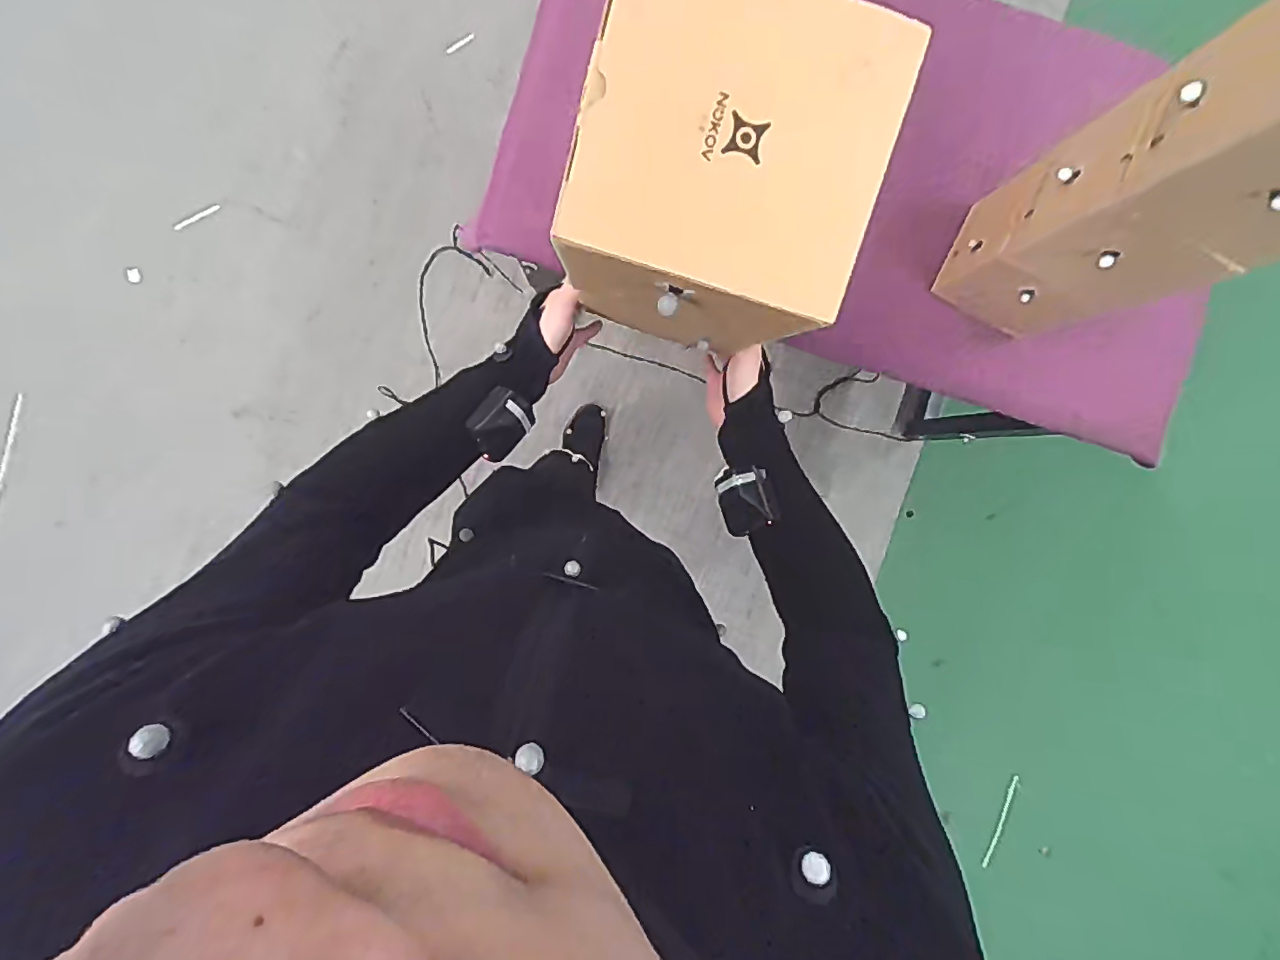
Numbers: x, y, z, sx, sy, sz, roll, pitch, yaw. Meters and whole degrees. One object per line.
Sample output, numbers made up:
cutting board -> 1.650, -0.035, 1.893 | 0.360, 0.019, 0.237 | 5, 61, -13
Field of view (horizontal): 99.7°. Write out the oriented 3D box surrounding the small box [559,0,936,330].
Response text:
small box -> 0.056, -0.210, 0.380 | 0.179, 0.176, 0.168 | 15, 100, -5

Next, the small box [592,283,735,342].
small box -> 0.048, -0.283, 0.699 | 0.179, 0.176, 0.168 | 17, 99, -5

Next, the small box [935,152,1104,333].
small box -> 0.601, -0.347, 0.831 | 0.179, 0.176, 0.168 | 27, 91, -5

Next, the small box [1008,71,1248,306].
small box -> 0.611, -0.337, 0.668 | 0.179, 0.176, 0.168 | 24, 92, -4

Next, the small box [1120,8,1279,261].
small box -> 0.624, -0.330, 0.504 | 0.179, 0.176, 0.168 | 23, 91, -4
